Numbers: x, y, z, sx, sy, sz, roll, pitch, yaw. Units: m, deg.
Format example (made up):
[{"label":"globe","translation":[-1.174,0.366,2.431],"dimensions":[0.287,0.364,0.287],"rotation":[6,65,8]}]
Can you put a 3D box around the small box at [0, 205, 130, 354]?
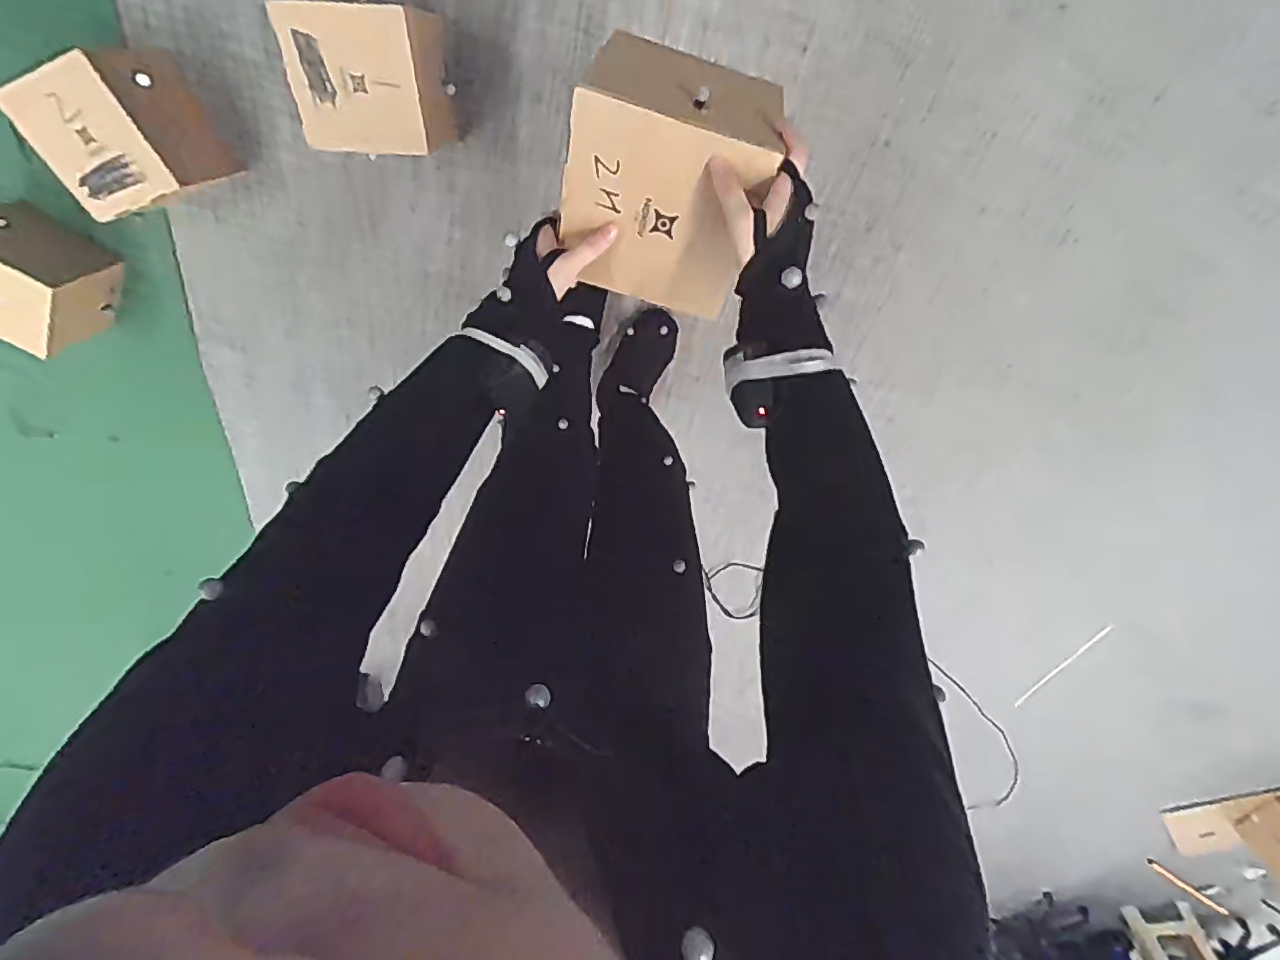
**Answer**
[{"label":"small box","translation":[-1.092,-0.368,0.975],"dimensions":[0.179,0.176,0.168],"rotation":[33,122,-22]}]

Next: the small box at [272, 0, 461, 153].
[{"label":"small box","translation":[-0.381,-0.587,0.790],"dimensions":[0.179,0.176,0.168],"rotation":[2,128,-1]}]

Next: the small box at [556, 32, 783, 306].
[{"label":"small box","translation":[0.030,-0.311,0.543],"dimensions":[0.179,0.176,0.168],"rotation":[16,141,-4]}]
